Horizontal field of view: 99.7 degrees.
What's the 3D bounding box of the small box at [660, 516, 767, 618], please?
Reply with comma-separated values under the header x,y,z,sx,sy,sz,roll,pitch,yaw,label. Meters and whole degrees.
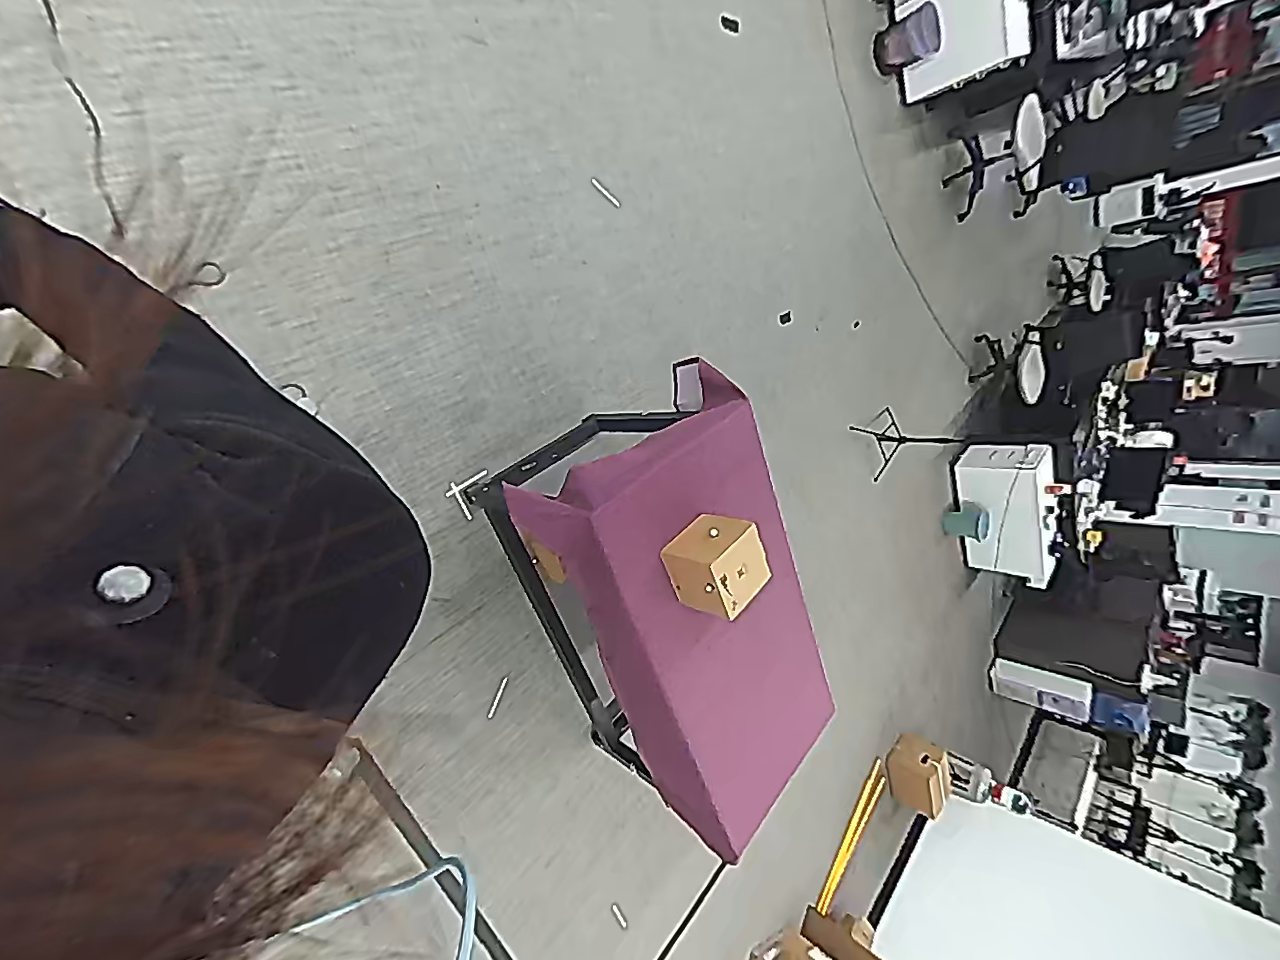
x,y,z,sx,sy,sz,roll,pitch,yaw,label
0.179,0.203,1.323,0.179,0.176,0.168,-38,117,-33,small box
